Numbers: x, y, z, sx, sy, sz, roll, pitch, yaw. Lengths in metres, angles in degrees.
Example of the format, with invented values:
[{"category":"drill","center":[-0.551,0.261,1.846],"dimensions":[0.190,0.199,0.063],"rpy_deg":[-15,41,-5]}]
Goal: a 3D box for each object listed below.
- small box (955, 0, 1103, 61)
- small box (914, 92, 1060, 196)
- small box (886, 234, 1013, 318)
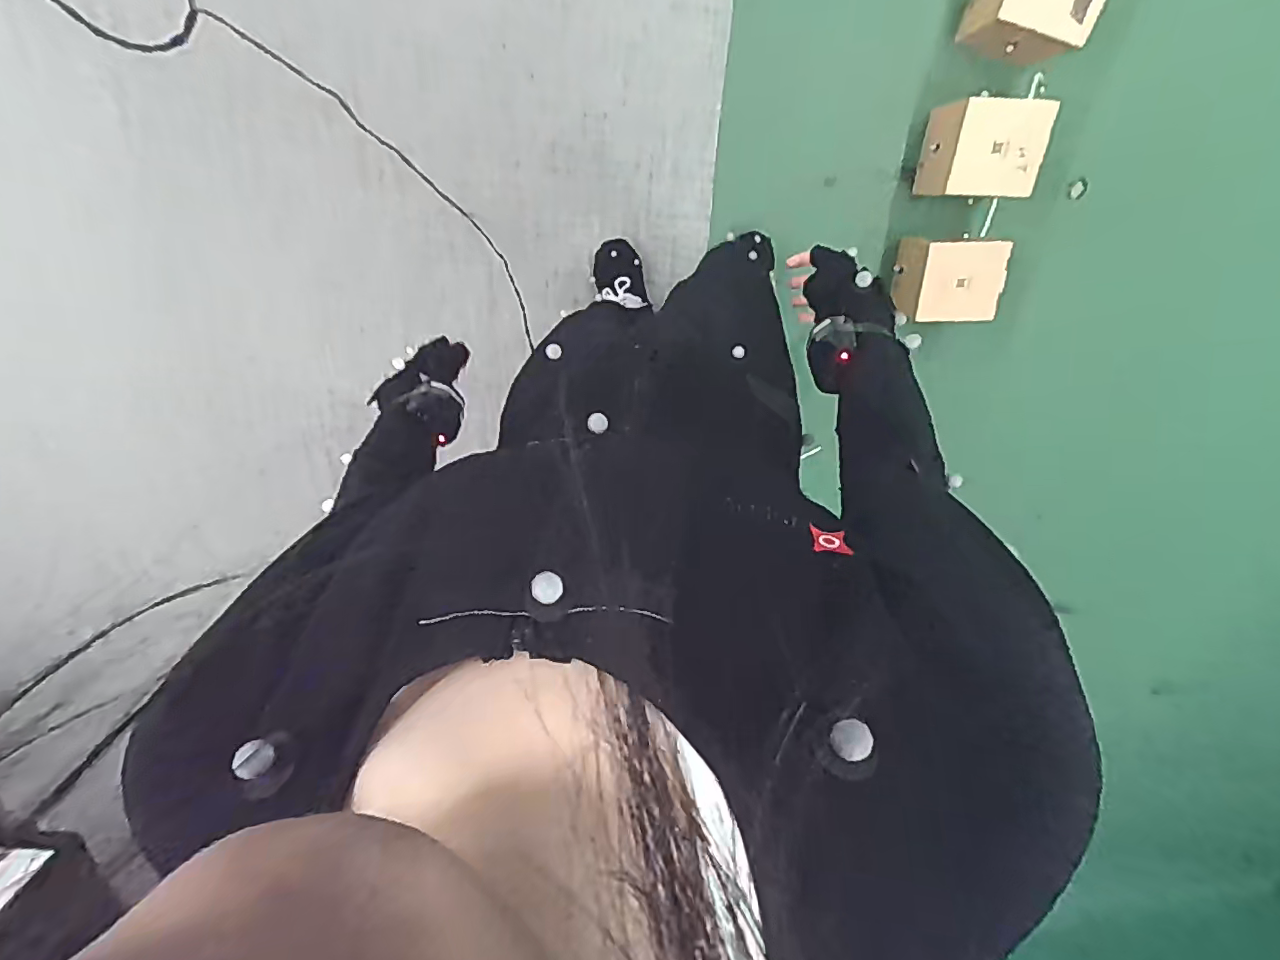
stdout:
[{"category":"small box","center":[0.742,-0.919,1.010],"dimensions":[0.179,0.176,0.168],"rpy_deg":[14,115,-5]},{"category":"small box","center":[0.704,-0.690,1.125],"dimensions":[0.179,0.176,0.168],"rpy_deg":[3,118,-1]},{"category":"small box","center":[0.698,-0.470,1.239],"dimensions":[0.179,0.176,0.168],"rpy_deg":[0,117,1]}]
